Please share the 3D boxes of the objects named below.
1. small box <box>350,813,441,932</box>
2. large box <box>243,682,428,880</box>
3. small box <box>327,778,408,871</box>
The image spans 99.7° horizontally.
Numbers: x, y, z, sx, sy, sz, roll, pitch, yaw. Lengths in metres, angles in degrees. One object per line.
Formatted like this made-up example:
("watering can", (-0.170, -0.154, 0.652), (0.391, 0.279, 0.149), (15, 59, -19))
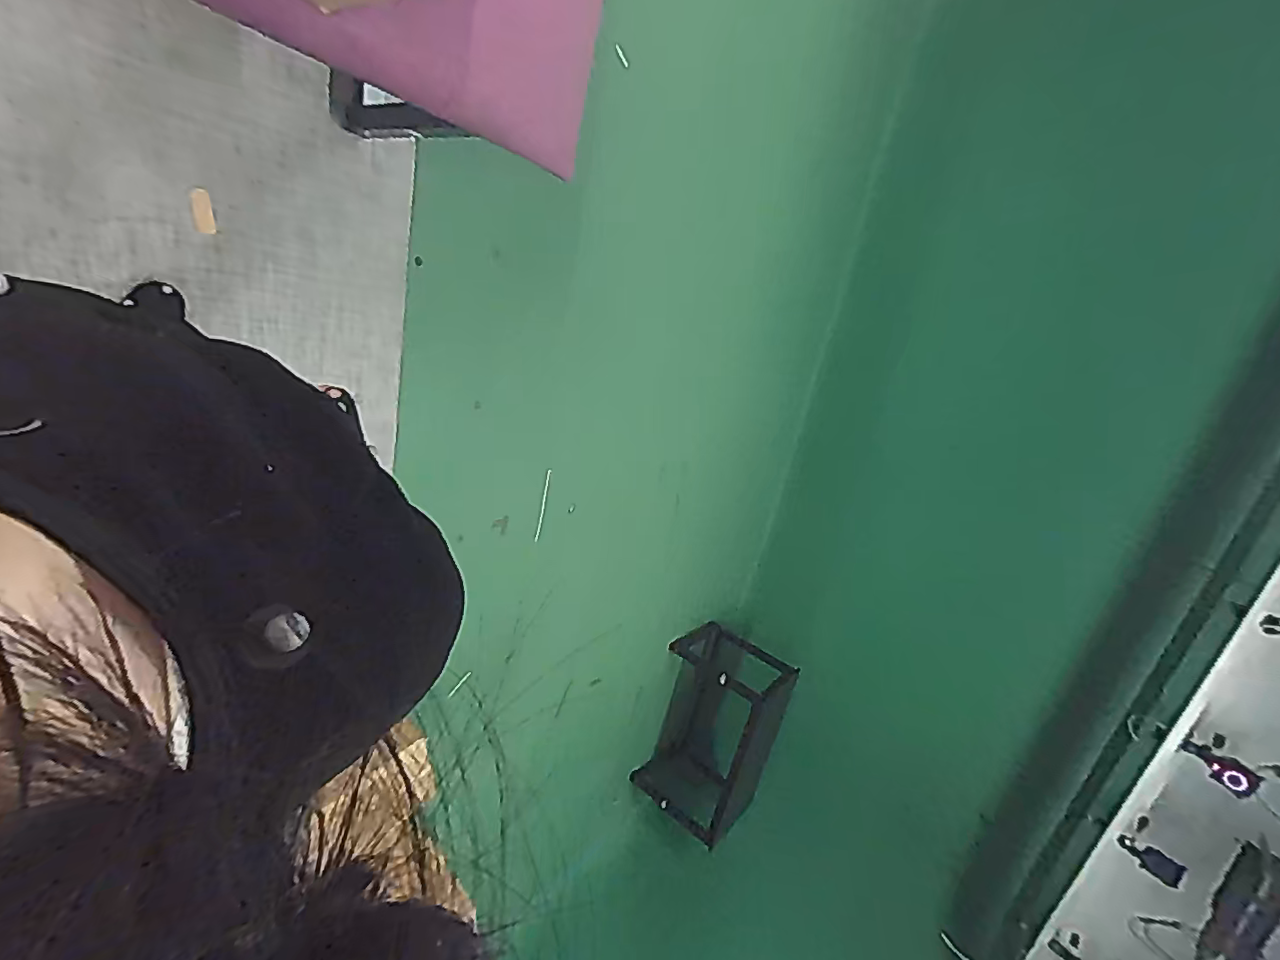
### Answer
("small box", (-0.685, 1.091, 1.520), (0.179, 0.176, 0.168), (-20, 126, -47))
("large box", (-0.979, 0.960, 1.773), (0.408, 0.320, 0.320), (-30, 134, -44))
("small box", (-0.806, 1.027, 1.607), (0.168, 0.176, 0.179), (-22, 127, -46))
